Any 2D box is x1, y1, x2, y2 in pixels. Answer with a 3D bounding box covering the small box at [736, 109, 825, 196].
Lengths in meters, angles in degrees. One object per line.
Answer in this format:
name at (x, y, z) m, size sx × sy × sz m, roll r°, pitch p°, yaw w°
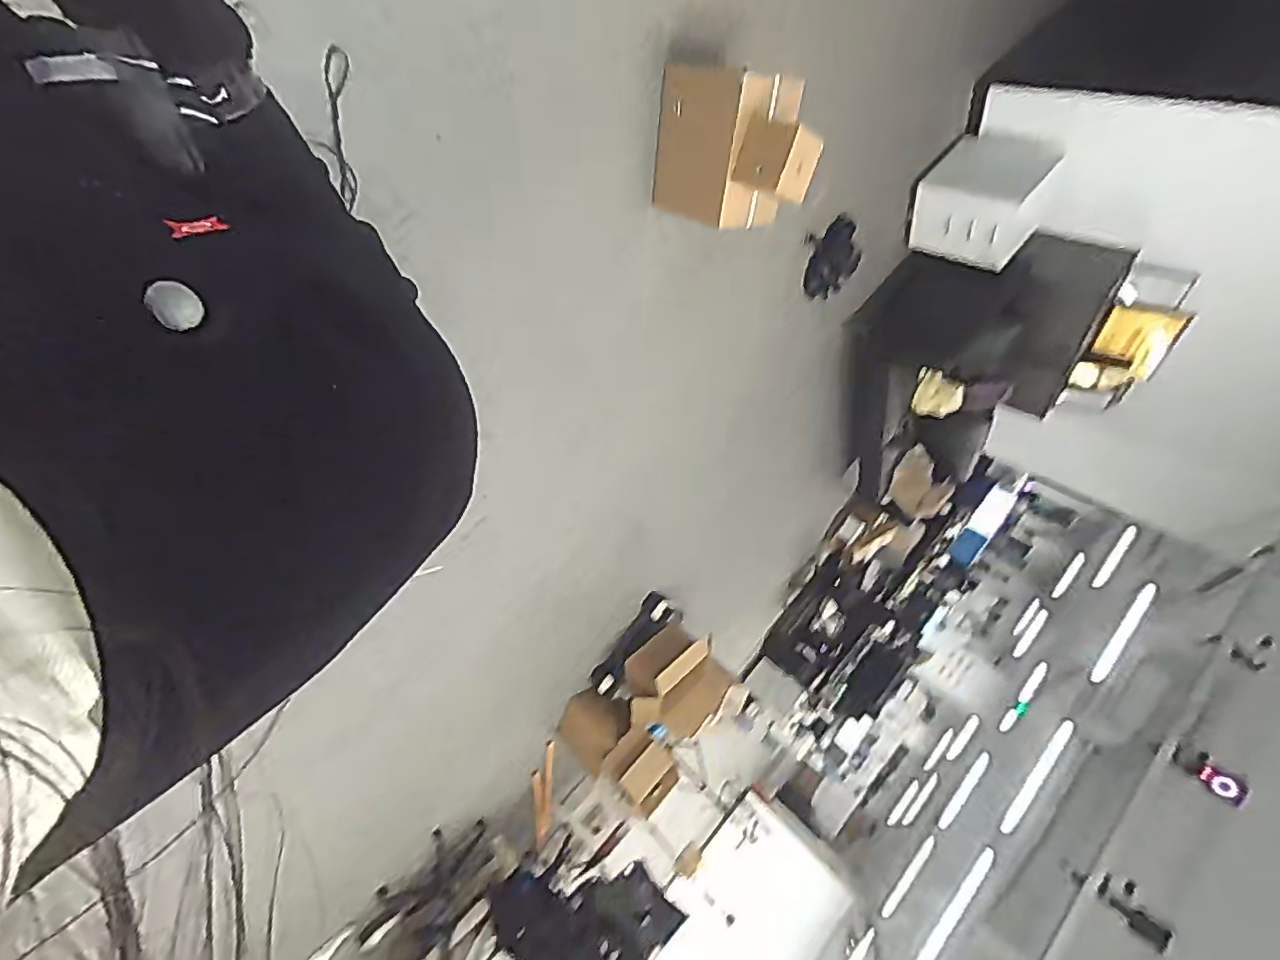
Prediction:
small box at (0.408, -0.966, 1.597) m, size 0.168 × 0.176 × 0.179 m, roll -13°, pitch 128°, yaw -46°
